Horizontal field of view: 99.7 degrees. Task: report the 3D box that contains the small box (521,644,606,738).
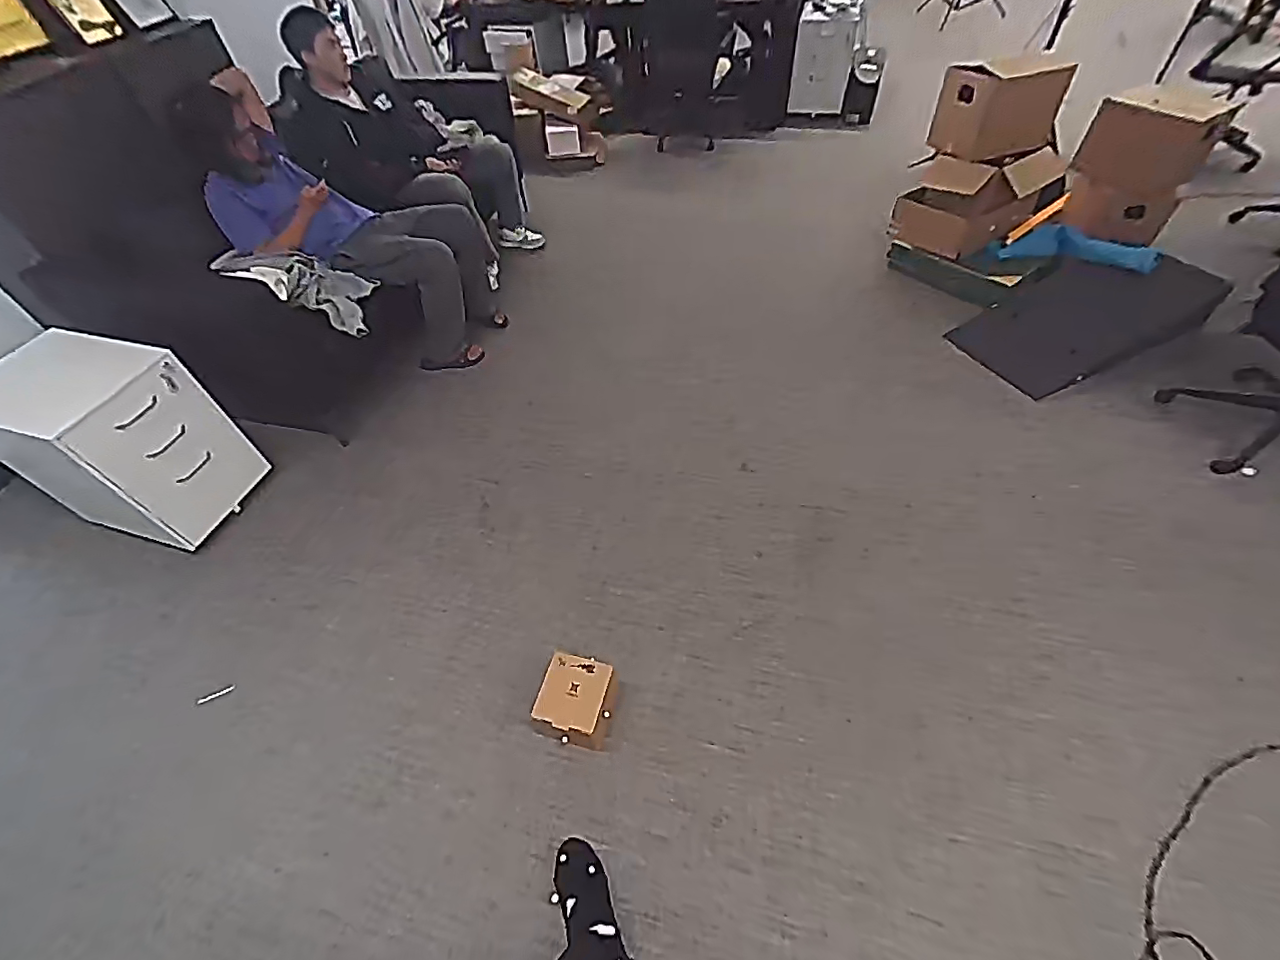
[{"bbox_3d":[-0.195,0.568,1.447,0.168,0.176,0.179,9,52,11],"label":"small box"}]
